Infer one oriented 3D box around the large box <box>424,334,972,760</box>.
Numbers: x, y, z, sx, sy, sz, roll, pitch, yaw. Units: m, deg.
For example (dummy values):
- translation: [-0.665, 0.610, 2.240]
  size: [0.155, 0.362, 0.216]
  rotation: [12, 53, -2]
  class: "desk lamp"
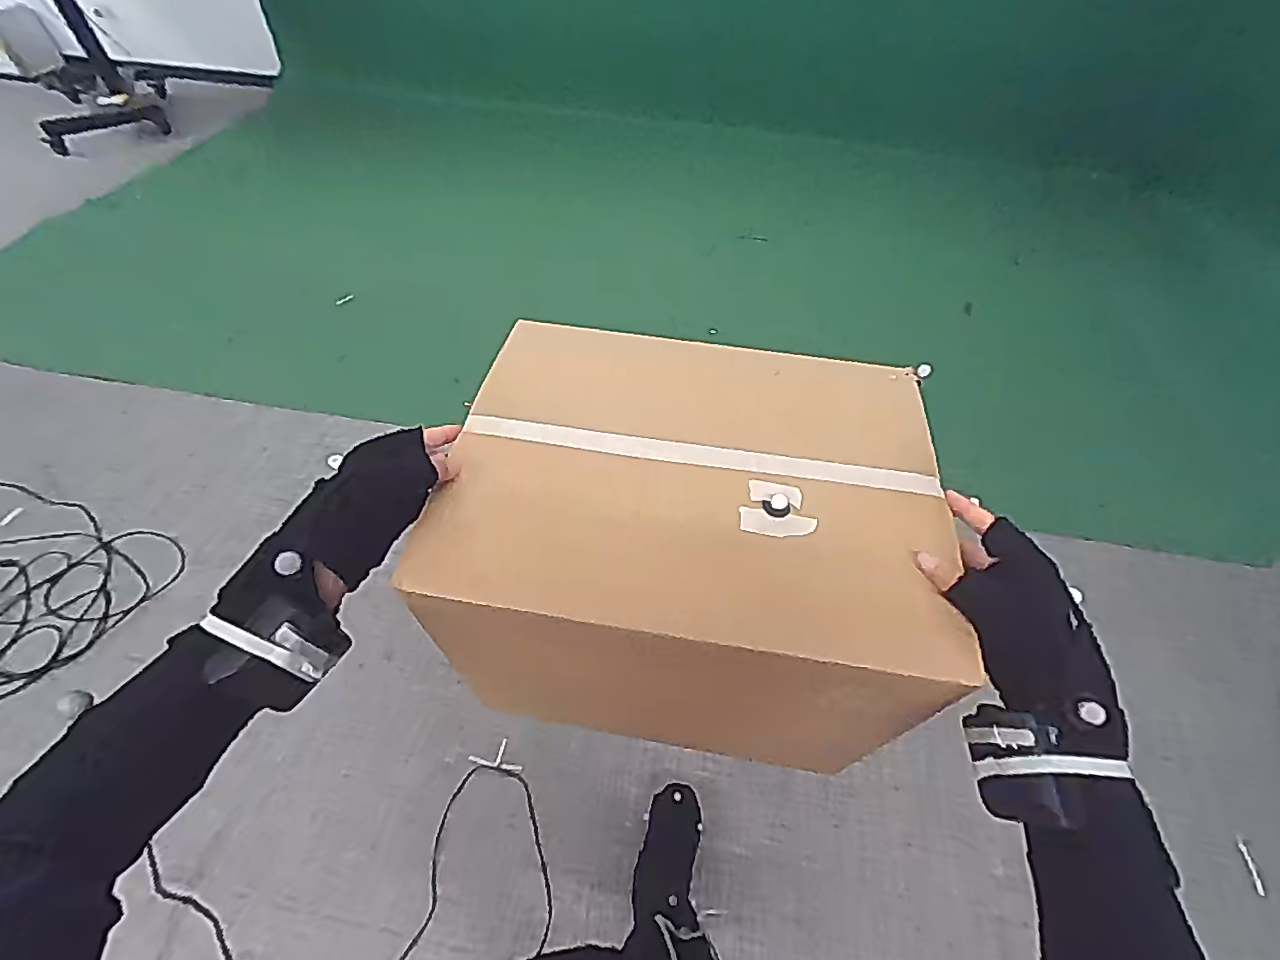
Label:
- translation: [0.049, 0.079, 0.590]
  size: [0.408, 0.320, 0.320]
  rotation: [9, 53, 4]
  class: "large box"
